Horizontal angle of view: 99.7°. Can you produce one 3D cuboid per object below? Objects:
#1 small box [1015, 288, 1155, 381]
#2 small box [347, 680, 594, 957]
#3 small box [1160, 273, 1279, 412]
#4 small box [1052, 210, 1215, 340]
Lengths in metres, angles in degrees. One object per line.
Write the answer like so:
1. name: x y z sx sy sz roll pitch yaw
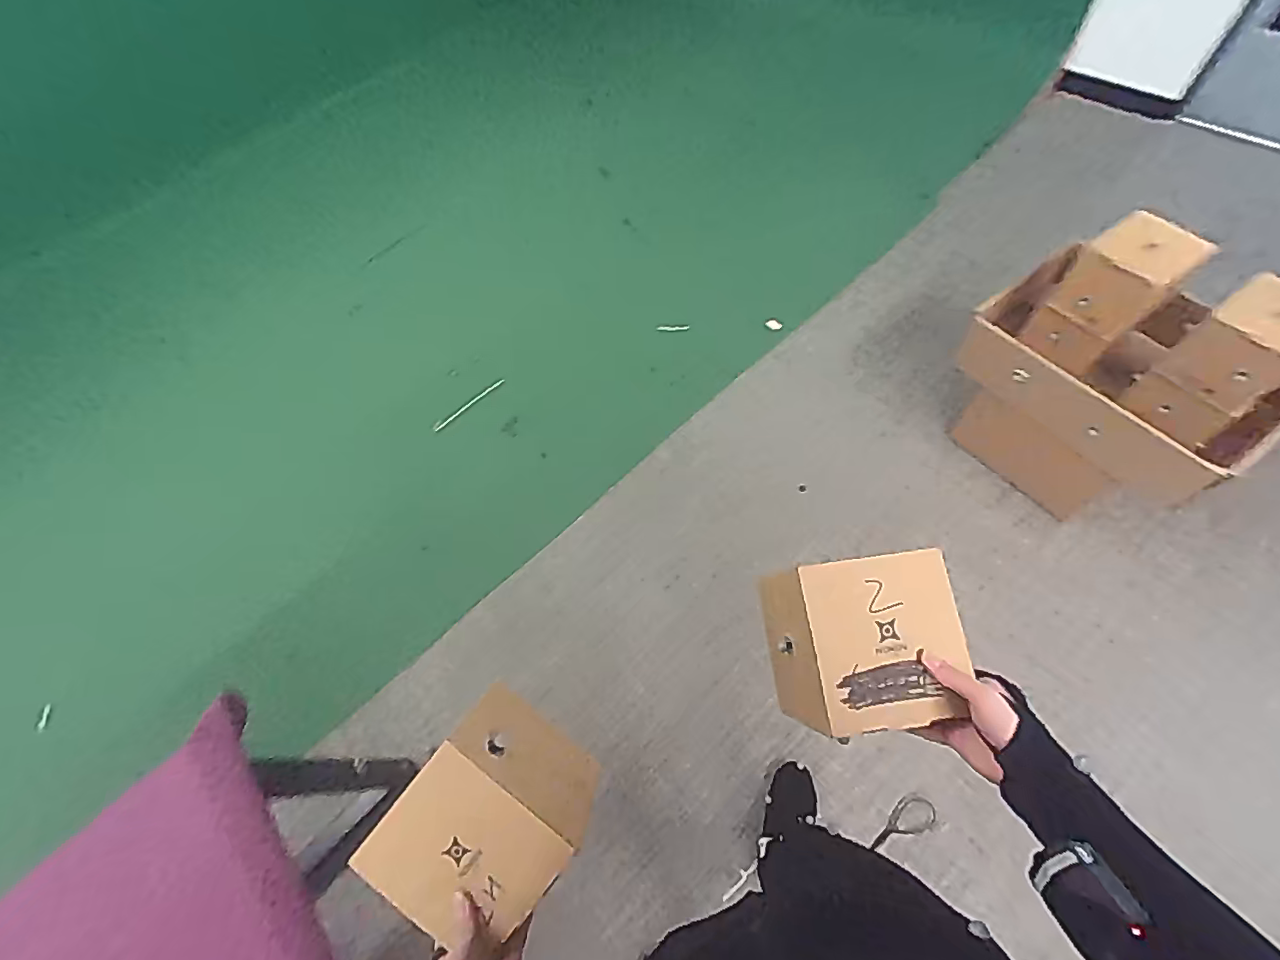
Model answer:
1. small box: 1.095 -0.383 1.348 0.168 0.176 0.179 -33 64 -10
2. small box: -0.174 0.355 0.614 0.179 0.176 0.168 40 92 2
3. small box: 1.217 -0.269 1.085 0.179 0.176 0.168 -34 64 -11
4. small box: 1.077 -0.451 1.200 0.179 0.176 0.168 -33 64 -9
